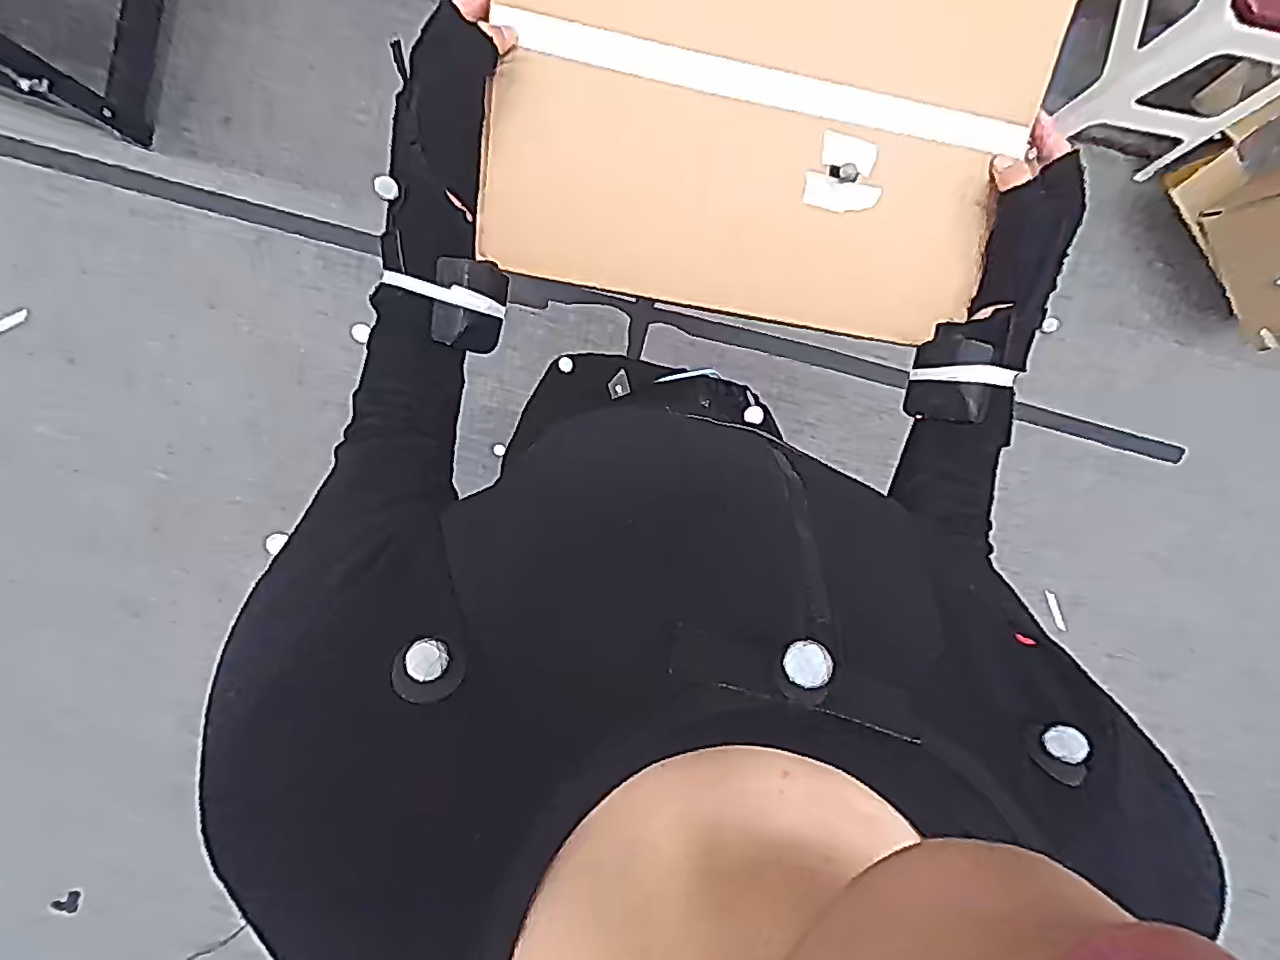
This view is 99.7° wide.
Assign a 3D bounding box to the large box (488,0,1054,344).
[{"bbox_3d":[0.082,-0.335,0.548,0.408,0.320,0.320,8,110,-8],"label":"large box"}]
